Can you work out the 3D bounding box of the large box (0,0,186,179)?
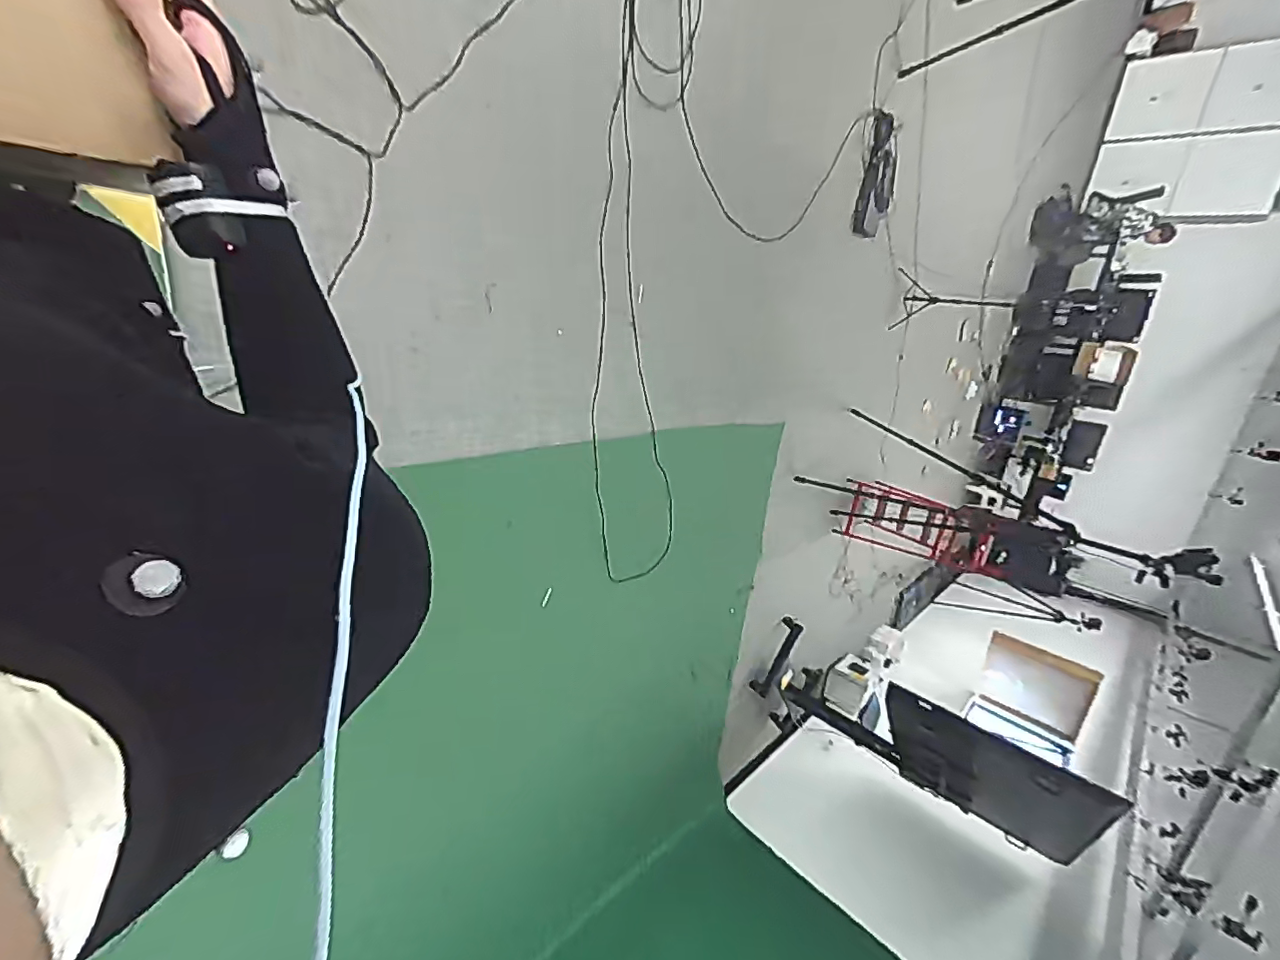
[{"bbox_3d":[-0.600,-0.407,0.342,0.408,0.320,0.320,-15,119,-45],"label":"large box"}]
